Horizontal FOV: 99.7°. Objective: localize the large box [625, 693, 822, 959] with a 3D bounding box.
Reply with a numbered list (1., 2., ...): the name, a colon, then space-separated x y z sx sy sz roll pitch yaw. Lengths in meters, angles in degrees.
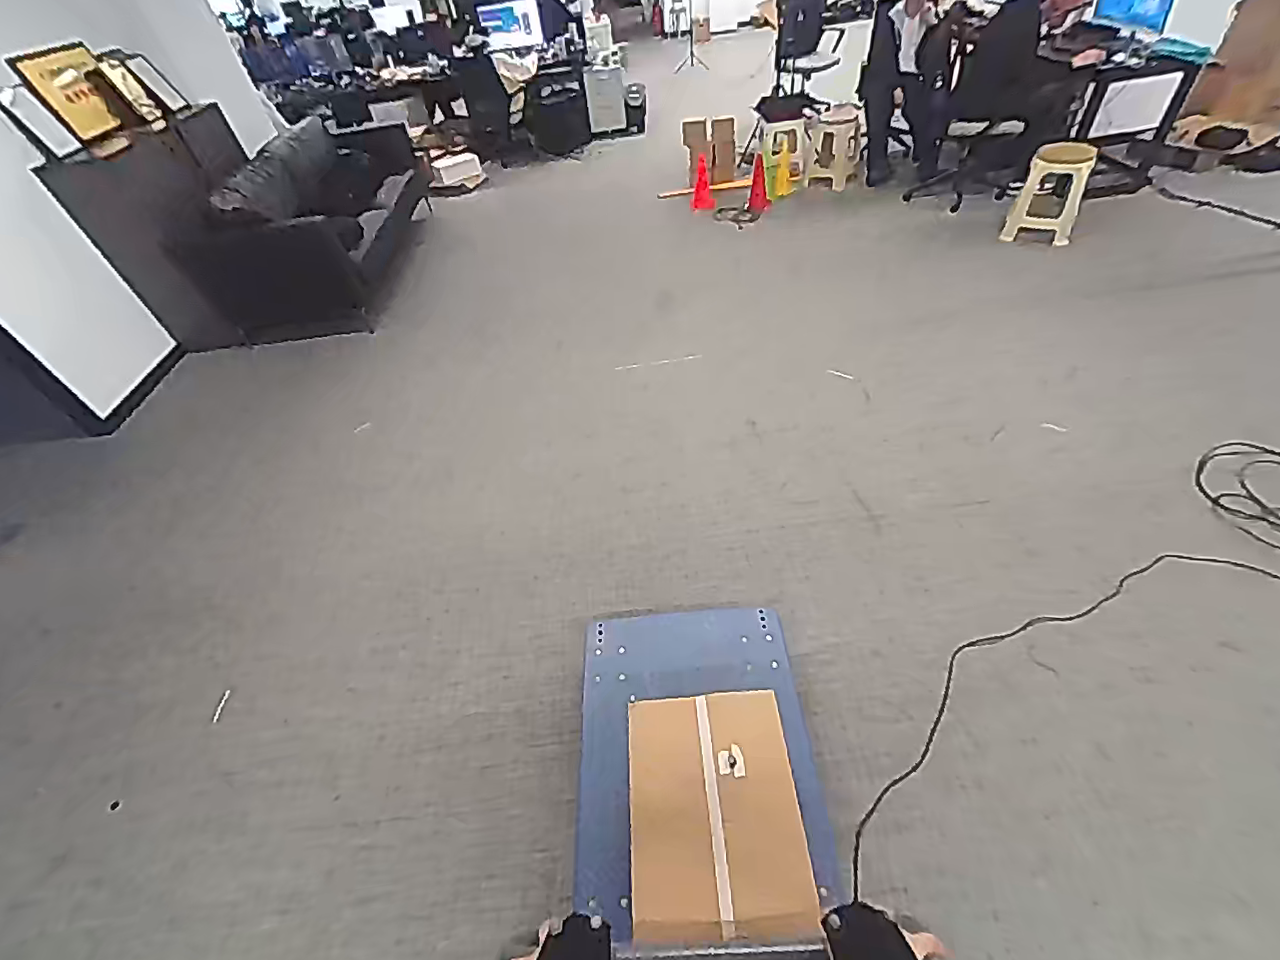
1. large box: 0.149 0.713 1.116 0.320 0.320 0.408 -6 44 2
